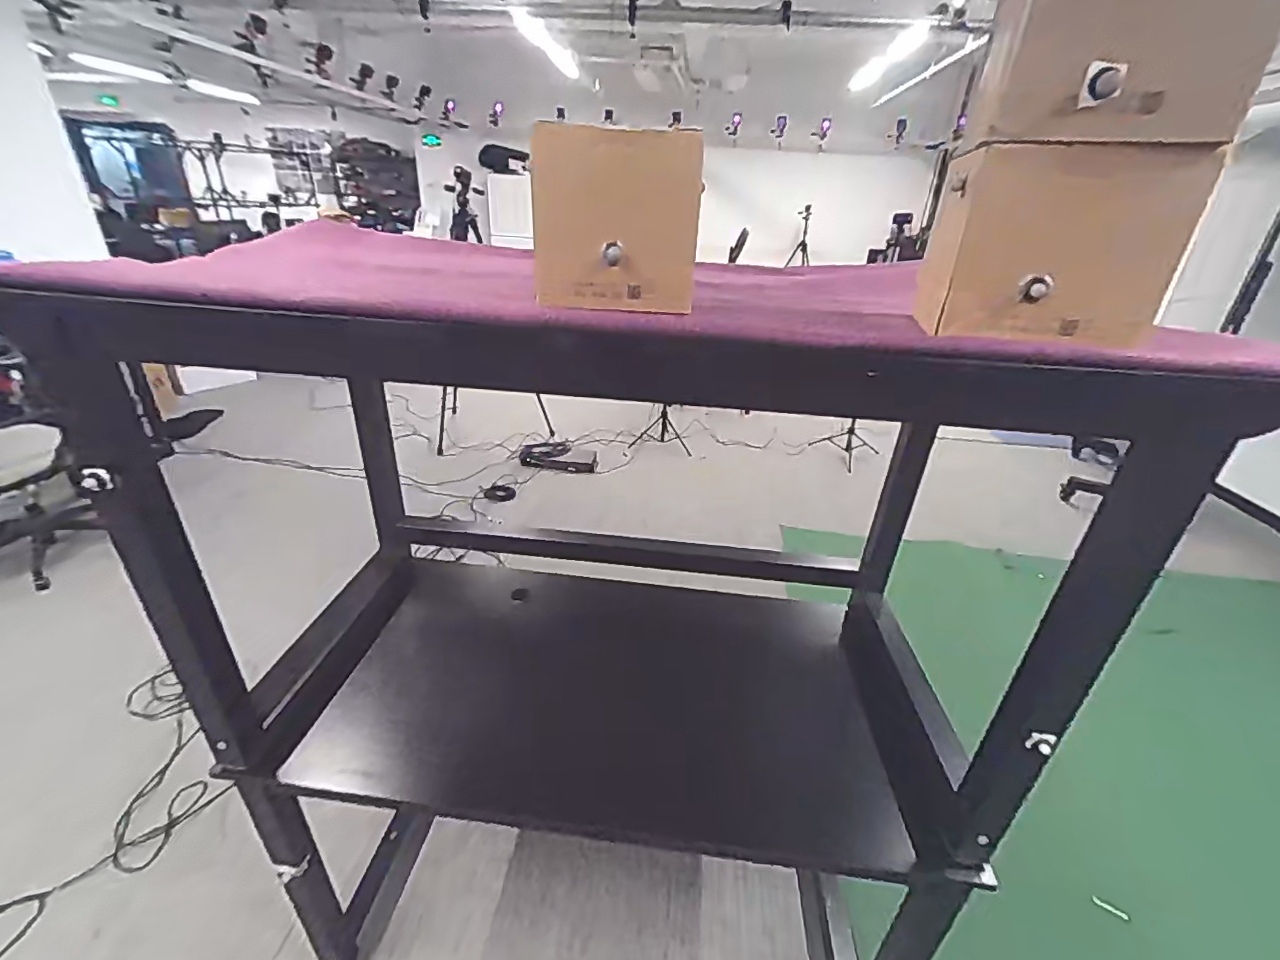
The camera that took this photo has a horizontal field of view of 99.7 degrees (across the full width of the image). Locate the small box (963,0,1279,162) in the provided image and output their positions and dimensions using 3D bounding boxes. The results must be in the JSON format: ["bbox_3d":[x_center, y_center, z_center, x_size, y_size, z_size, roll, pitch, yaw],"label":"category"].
[{"bbox_3d":[0.393,-0.362,0.452,0.168,0.176,0.179,11,30,17],"label":"small box"}]

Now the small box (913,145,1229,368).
[{"bbox_3d":[0.386,-0.222,0.534,0.168,0.176,0.179,10,29,13],"label":"small box"}]
